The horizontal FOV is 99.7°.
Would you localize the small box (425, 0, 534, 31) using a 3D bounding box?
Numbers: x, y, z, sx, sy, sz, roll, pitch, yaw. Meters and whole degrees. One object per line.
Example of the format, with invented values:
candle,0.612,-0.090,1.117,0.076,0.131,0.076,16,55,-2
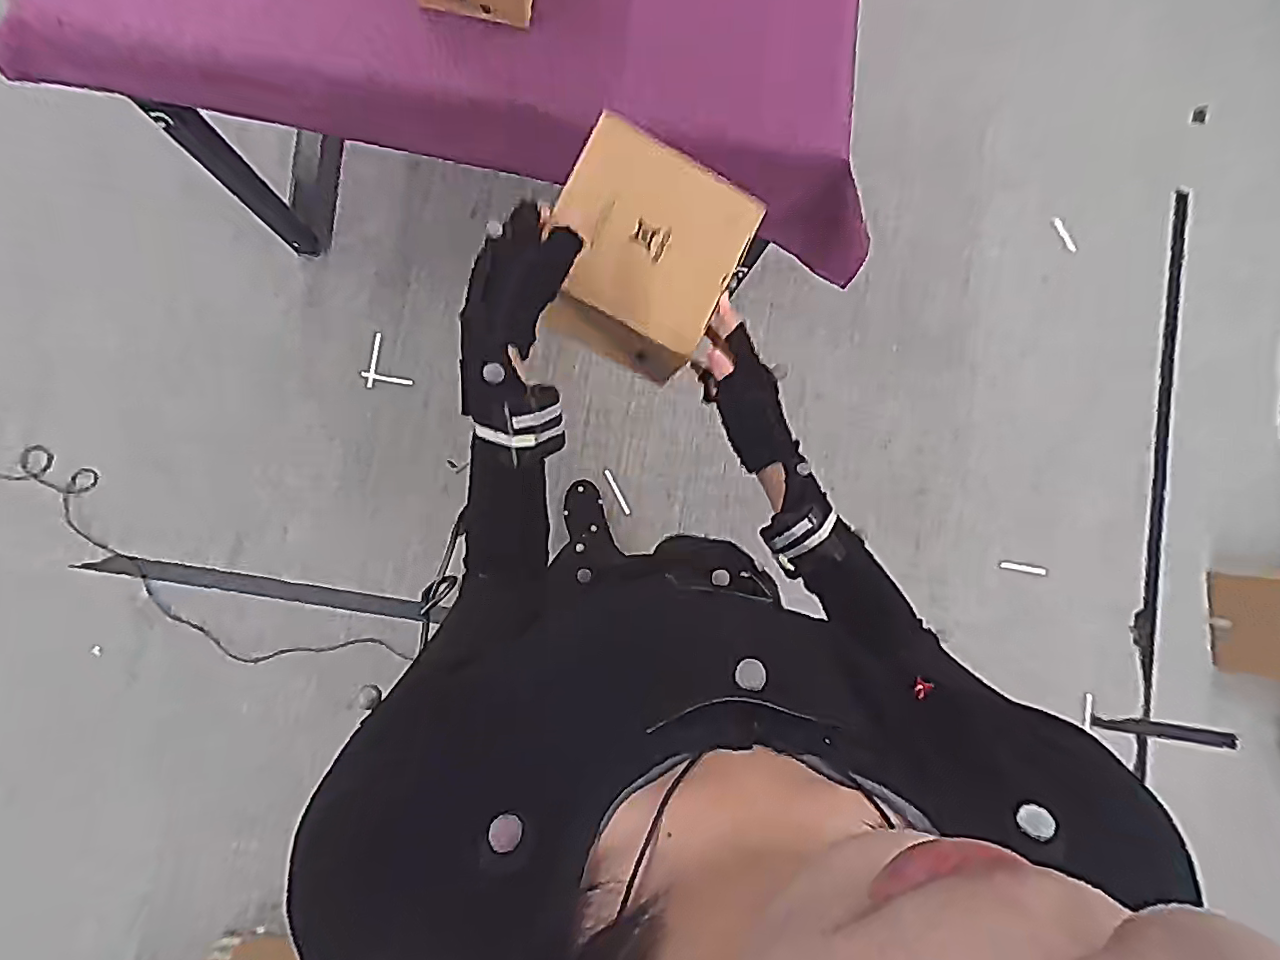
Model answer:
small box,-0.228,-0.784,0.744,0.168,0.176,0.179,7,86,-6
